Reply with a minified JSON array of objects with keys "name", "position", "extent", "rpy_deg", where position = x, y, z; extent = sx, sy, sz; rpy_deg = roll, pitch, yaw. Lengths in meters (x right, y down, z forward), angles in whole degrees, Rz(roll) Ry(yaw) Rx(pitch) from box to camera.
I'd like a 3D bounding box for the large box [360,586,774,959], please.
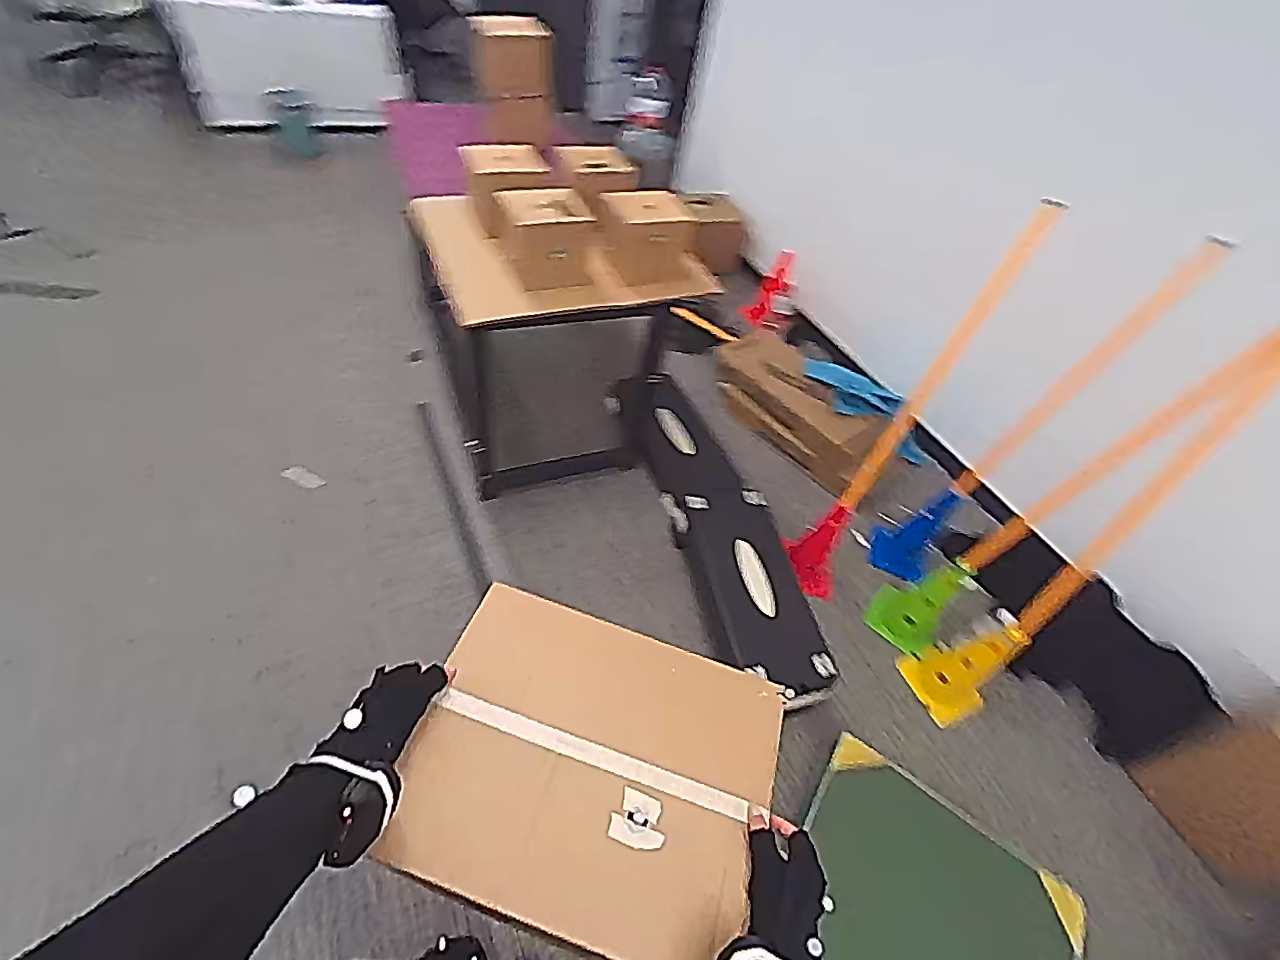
[{"name":"large box","position":[-0.076,0.402,0.731],"extent":[0.408,0.320,0.320],"rpy_deg":[18,50,4]}]
